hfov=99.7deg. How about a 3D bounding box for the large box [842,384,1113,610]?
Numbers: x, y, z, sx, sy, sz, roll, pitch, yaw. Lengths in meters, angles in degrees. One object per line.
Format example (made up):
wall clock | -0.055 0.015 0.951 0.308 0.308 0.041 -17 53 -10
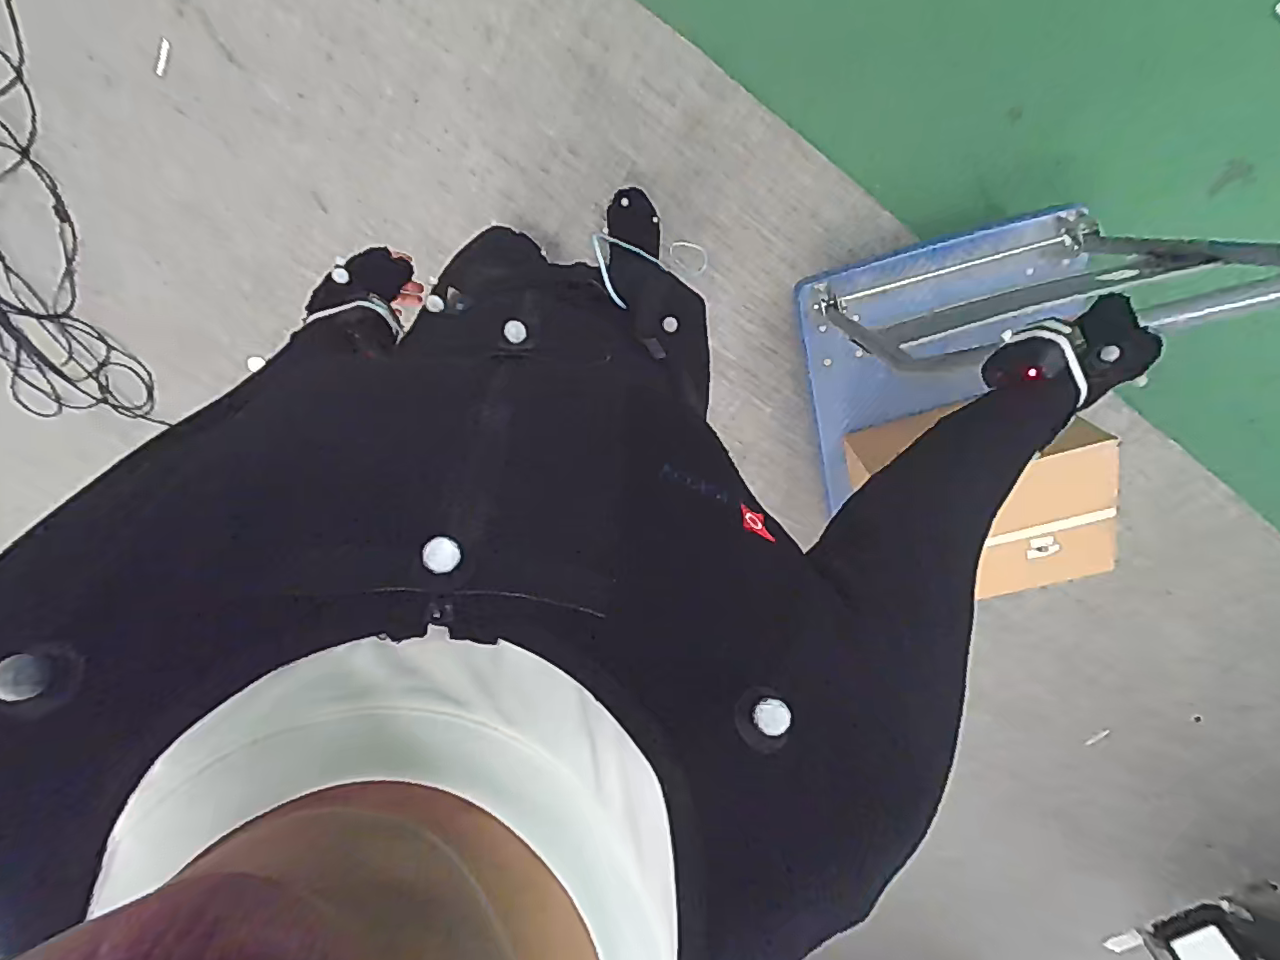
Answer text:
large box | 0.718 0.029 1.202 0.408 0.320 0.320 -17 117 11
